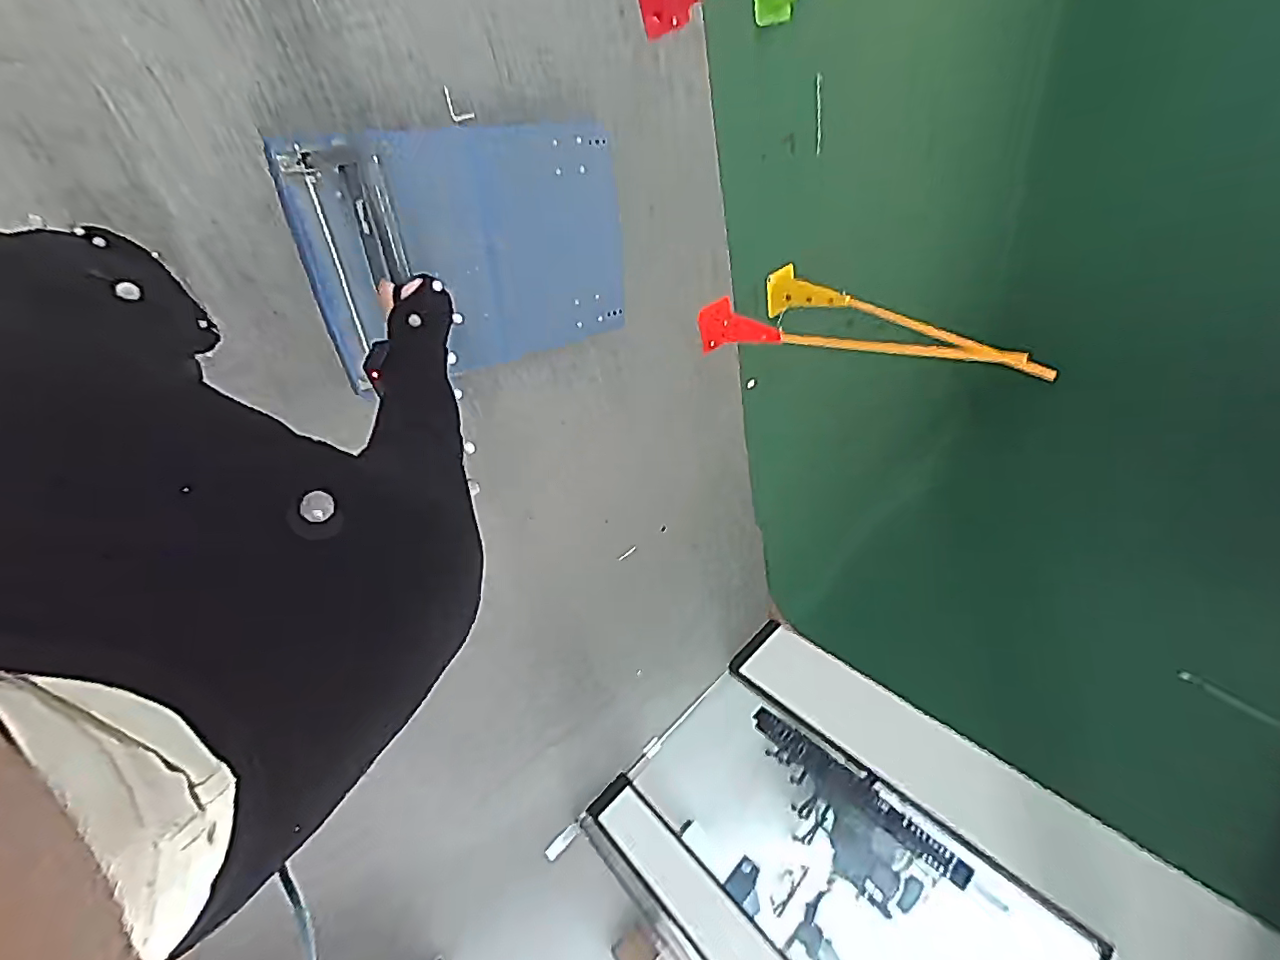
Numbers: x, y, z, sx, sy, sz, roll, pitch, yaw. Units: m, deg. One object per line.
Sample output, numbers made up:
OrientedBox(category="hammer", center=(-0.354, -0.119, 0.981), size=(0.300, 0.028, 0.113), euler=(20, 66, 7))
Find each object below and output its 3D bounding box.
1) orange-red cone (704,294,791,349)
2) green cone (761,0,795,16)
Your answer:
OrientedBox(category="orange-red cone", center=(0.464, -0.632, 2.236), size=(0.199, 0.360, 0.198), euler=(-37, 132, -27))
OrientedBox(category="green cone", center=(0.599, -1.733, 1.807), size=(0.202, 0.368, 0.200), euler=(-36, 130, -27))
